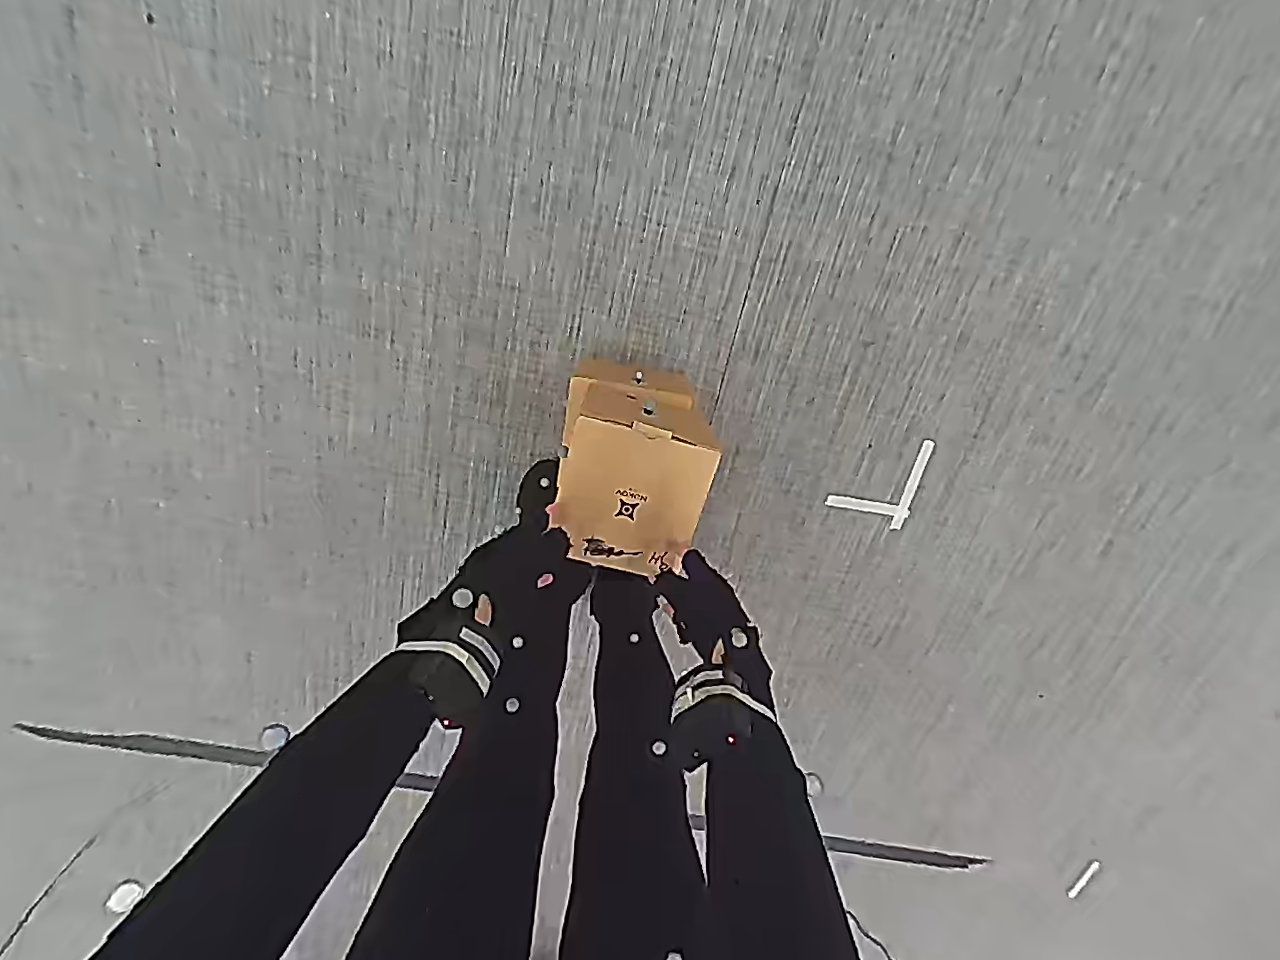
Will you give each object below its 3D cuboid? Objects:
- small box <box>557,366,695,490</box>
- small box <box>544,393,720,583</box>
[{"bbox_3d":[-0.025,-0.074,0.840,0.179,0.176,0.168,9,110,-4],"label":"small box"},{"bbox_3d":[-0.015,0.000,0.693,0.168,0.176,0.179,15,108,-7],"label":"small box"}]
